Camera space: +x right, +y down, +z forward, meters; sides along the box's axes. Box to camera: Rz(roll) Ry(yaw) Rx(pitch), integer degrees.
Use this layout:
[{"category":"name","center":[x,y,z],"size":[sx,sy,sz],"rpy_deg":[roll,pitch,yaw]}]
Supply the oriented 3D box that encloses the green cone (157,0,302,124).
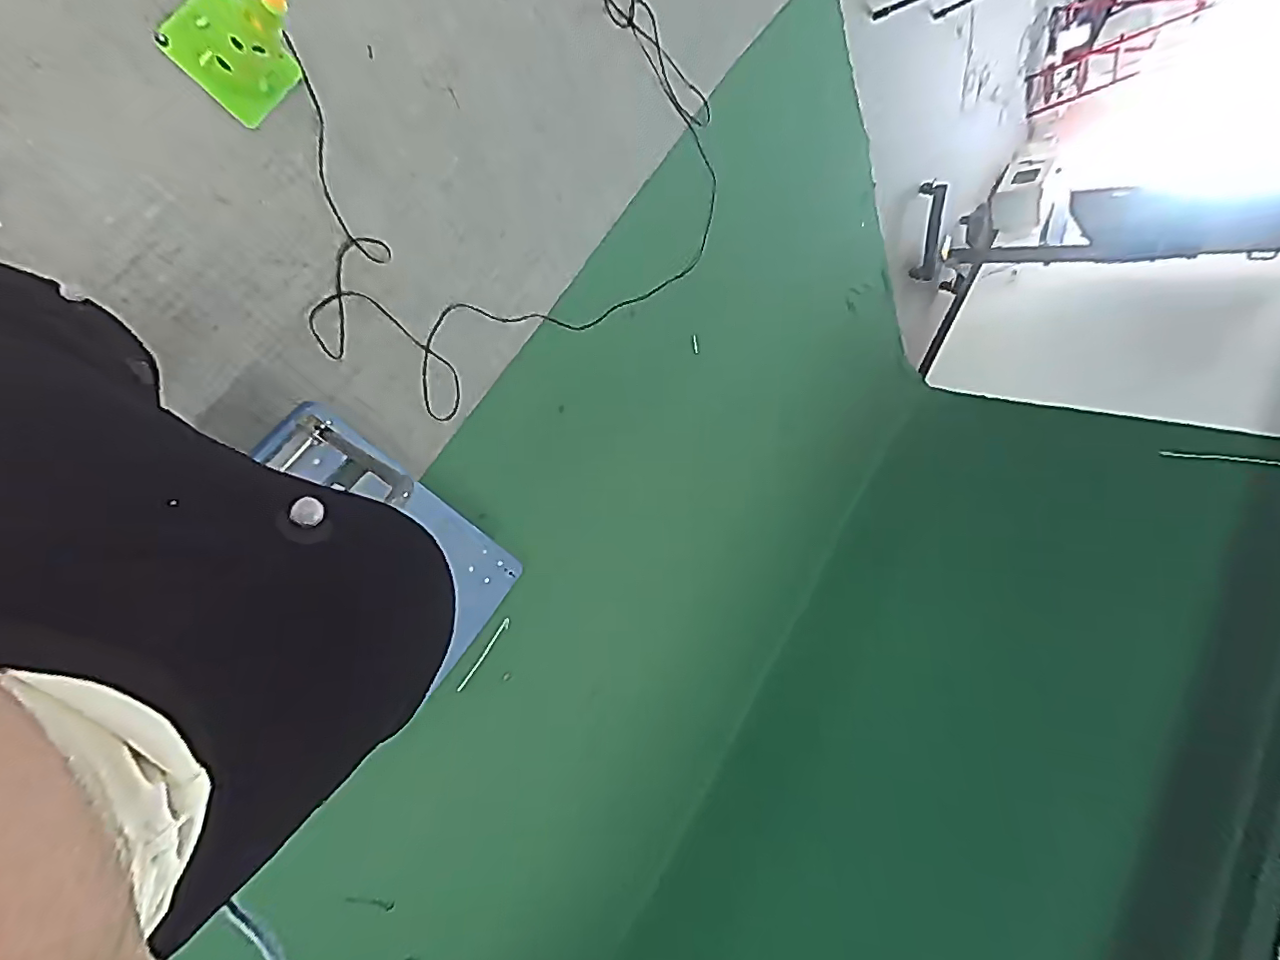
[{"category":"green cone","center":[-0.746,-0.872,1.046],"size":[0.200,0.368,0.202],"rpy_deg":[42,73,-47]}]
